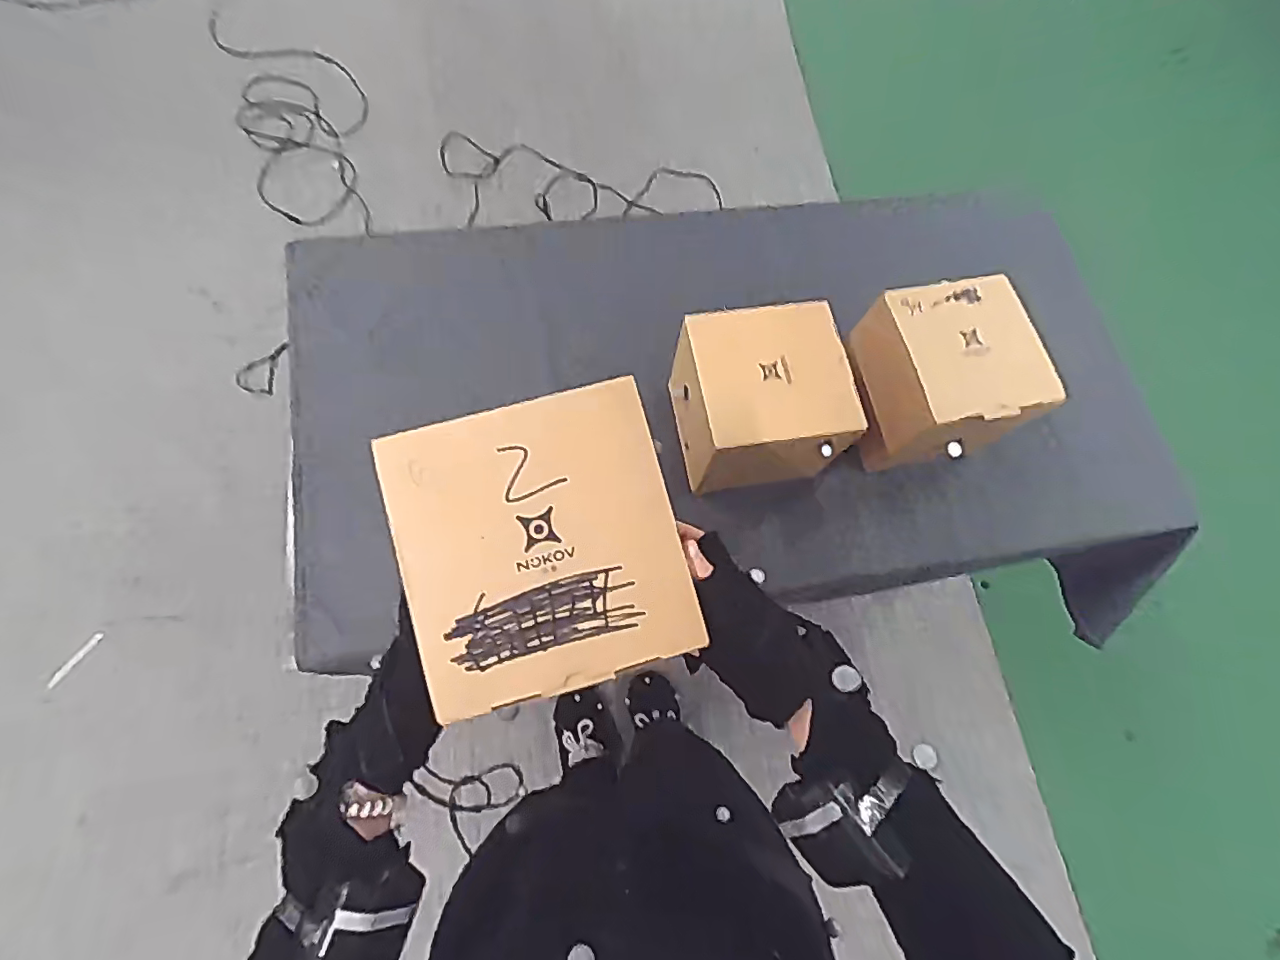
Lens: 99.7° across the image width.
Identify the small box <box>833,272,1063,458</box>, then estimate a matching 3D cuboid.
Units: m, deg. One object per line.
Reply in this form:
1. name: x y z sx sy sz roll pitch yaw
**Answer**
1. small box: 0.378 -0.136 0.699 0.168 0.176 0.179 -9 74 -8
